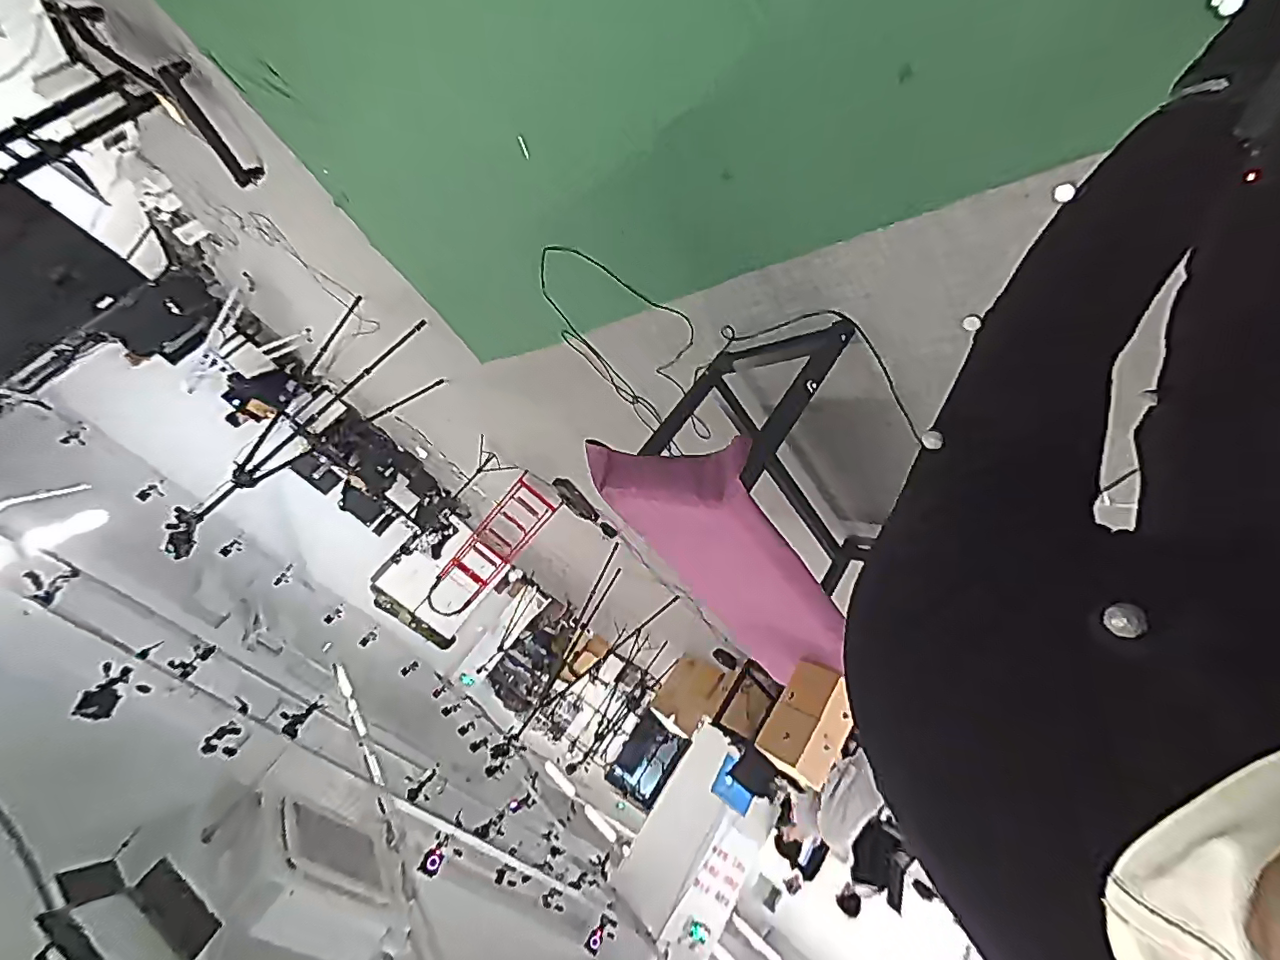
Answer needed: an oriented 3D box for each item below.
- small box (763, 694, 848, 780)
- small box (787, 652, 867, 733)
[{"bbox_3d":[0.543,0.830,1.768,0.168,0.176,0.179,47,157,-25],"label":"small box"},{"bbox_3d":[0.639,0.709,1.823,0.168,0.176,0.179,47,158,-25],"label":"small box"}]
